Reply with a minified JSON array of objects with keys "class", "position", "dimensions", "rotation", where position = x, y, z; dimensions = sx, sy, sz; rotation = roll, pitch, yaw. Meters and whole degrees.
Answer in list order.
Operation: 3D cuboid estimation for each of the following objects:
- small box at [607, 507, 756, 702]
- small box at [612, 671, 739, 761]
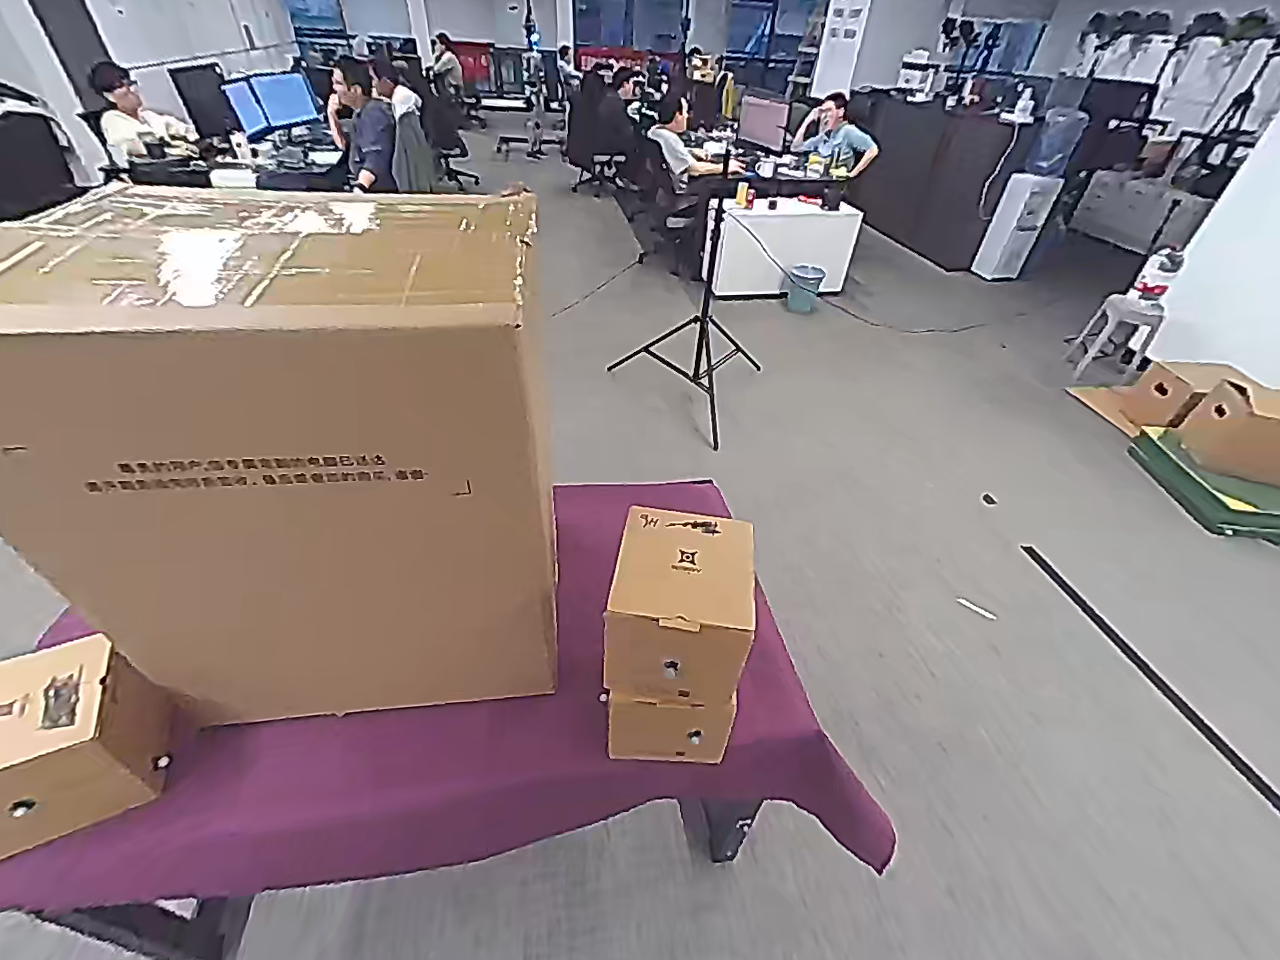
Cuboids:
[{"class":"small box","position":[0.055,0.162,0.704],"dimensions":[0.168,0.176,0.179],"rotation":[8,40,5]},{"class":"small box","position":[0.045,0.293,0.803],"dimensions":[0.168,0.176,0.179],"rotation":[3,38,-1]}]
